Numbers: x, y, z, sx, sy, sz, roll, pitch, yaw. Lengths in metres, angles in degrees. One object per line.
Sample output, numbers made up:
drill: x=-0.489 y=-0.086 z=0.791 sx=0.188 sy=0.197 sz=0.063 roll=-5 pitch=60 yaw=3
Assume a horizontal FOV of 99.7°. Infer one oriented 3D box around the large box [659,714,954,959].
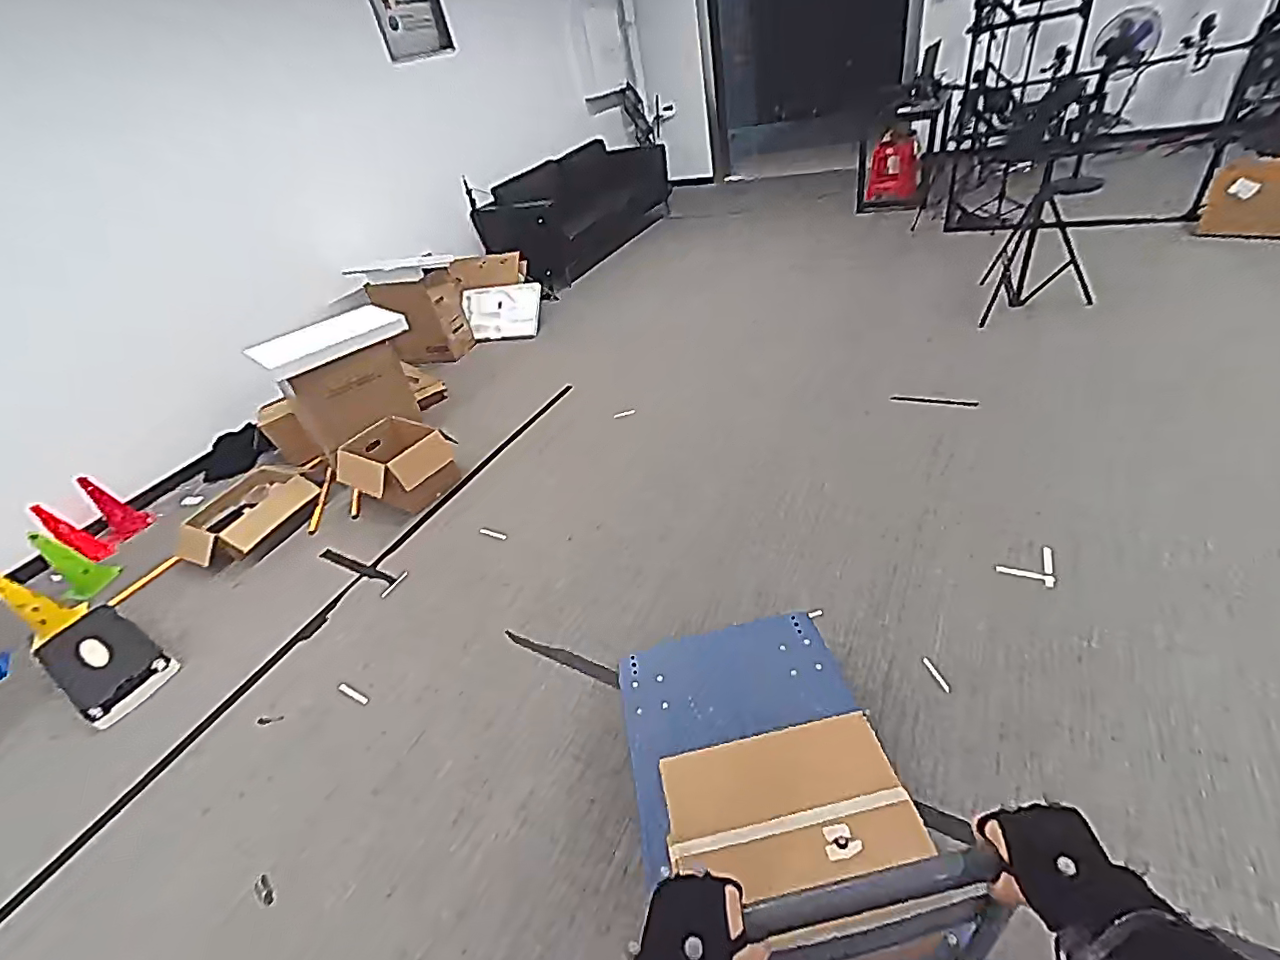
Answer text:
large box: x=0.275 y=0.700 z=1.001 sx=0.408 sy=0.320 sz=0.320 roll=-13 pitch=38 yaw=-2
